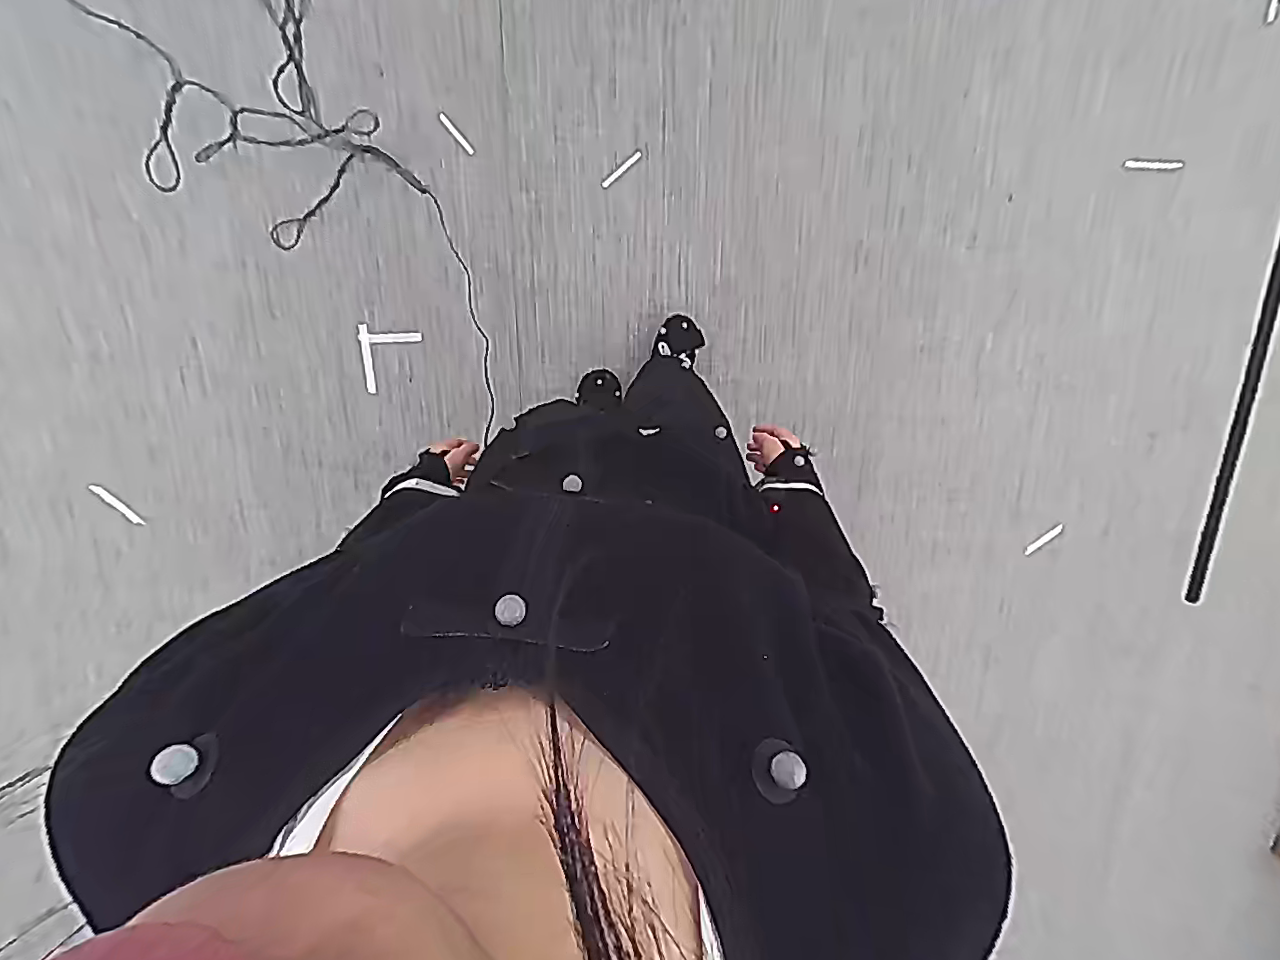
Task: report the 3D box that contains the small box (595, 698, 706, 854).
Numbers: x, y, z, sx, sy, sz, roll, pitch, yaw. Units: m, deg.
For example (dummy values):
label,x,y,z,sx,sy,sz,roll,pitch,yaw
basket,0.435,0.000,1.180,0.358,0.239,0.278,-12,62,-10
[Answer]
label,x,y,z,sx,sy,sz,roll,pitch,yaw
small box,0.010,0.498,0.926,0.168,0.176,0.179,3,103,-3
